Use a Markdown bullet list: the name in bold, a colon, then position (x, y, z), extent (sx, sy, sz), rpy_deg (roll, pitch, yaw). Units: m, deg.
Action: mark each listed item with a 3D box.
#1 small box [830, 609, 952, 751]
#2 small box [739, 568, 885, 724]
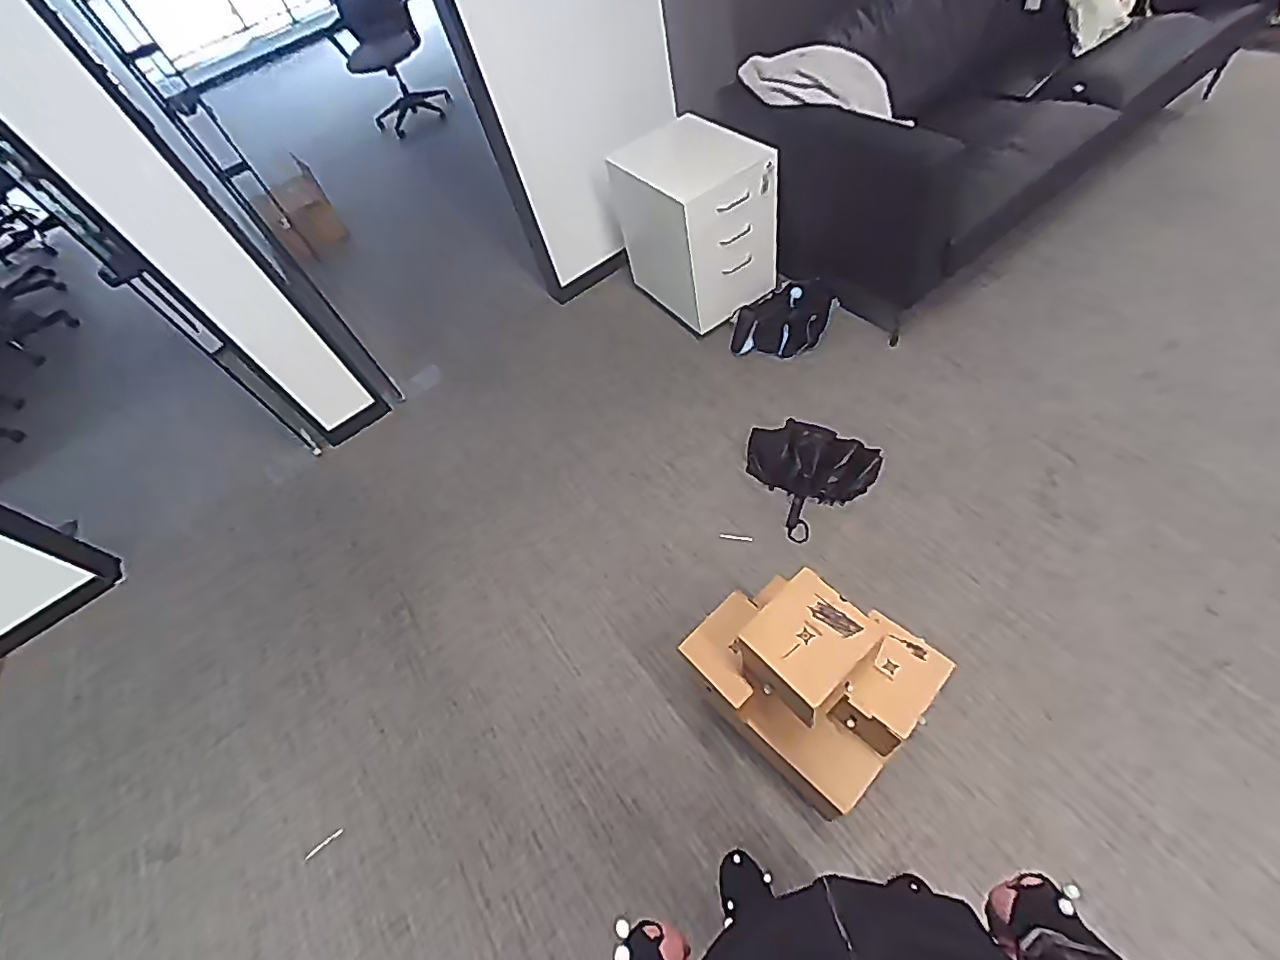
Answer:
- **small box**: position (0.461, 0.390, 1.044), extent (0.168, 0.176, 0.179), rpy_deg (35, 70, 31)
- **small box**: position (0.295, 0.293, 0.949), extent (0.179, 0.176, 0.168), rpy_deg (-40, 55, -12)
